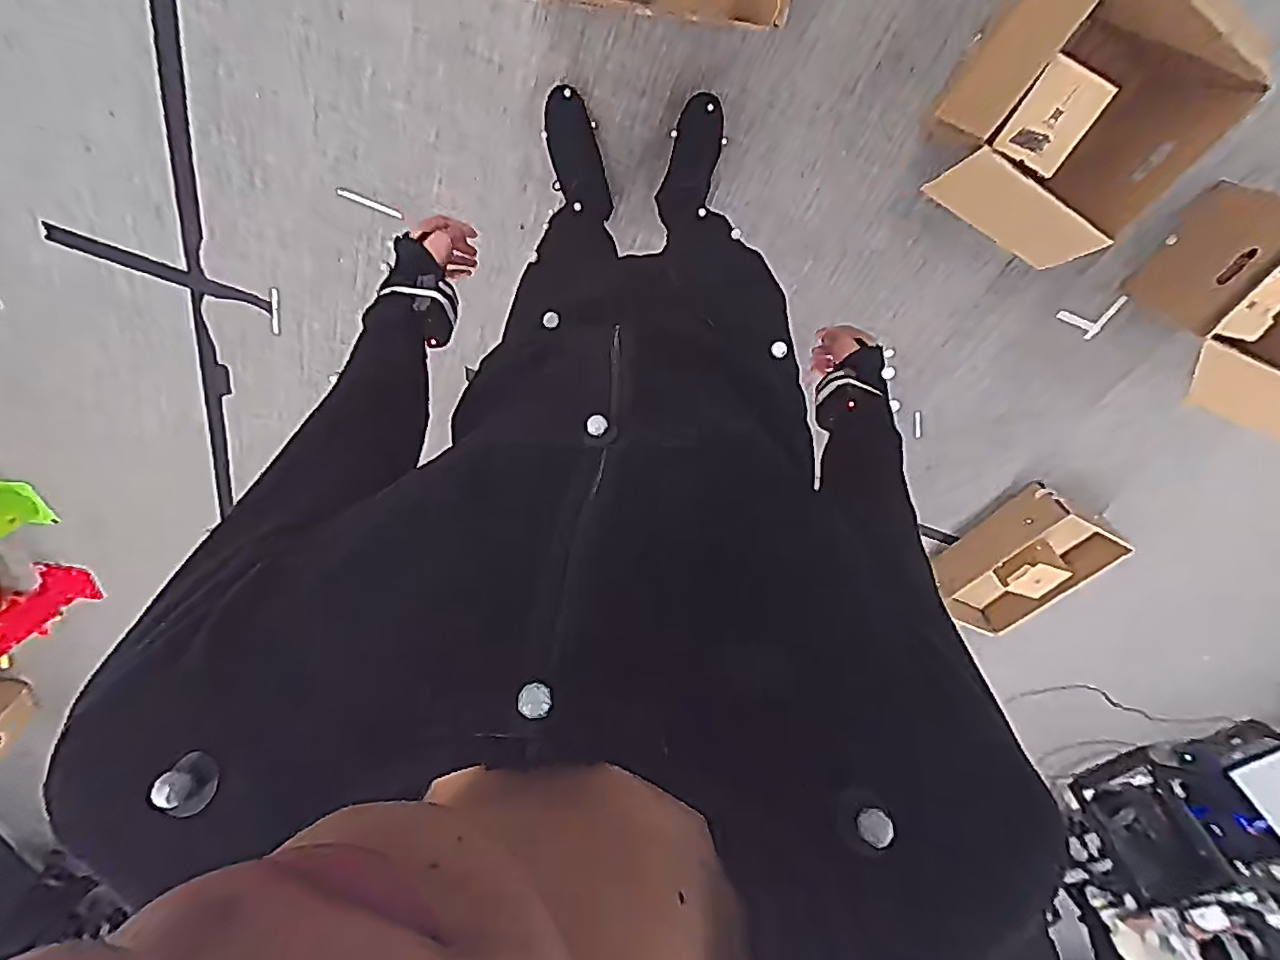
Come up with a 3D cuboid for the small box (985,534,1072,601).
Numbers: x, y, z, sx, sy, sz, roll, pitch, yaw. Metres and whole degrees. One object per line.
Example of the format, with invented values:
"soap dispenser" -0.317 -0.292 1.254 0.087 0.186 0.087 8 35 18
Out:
"small box" 1.482 0.332 2.077 0.179 0.176 0.168 17 128 -16
